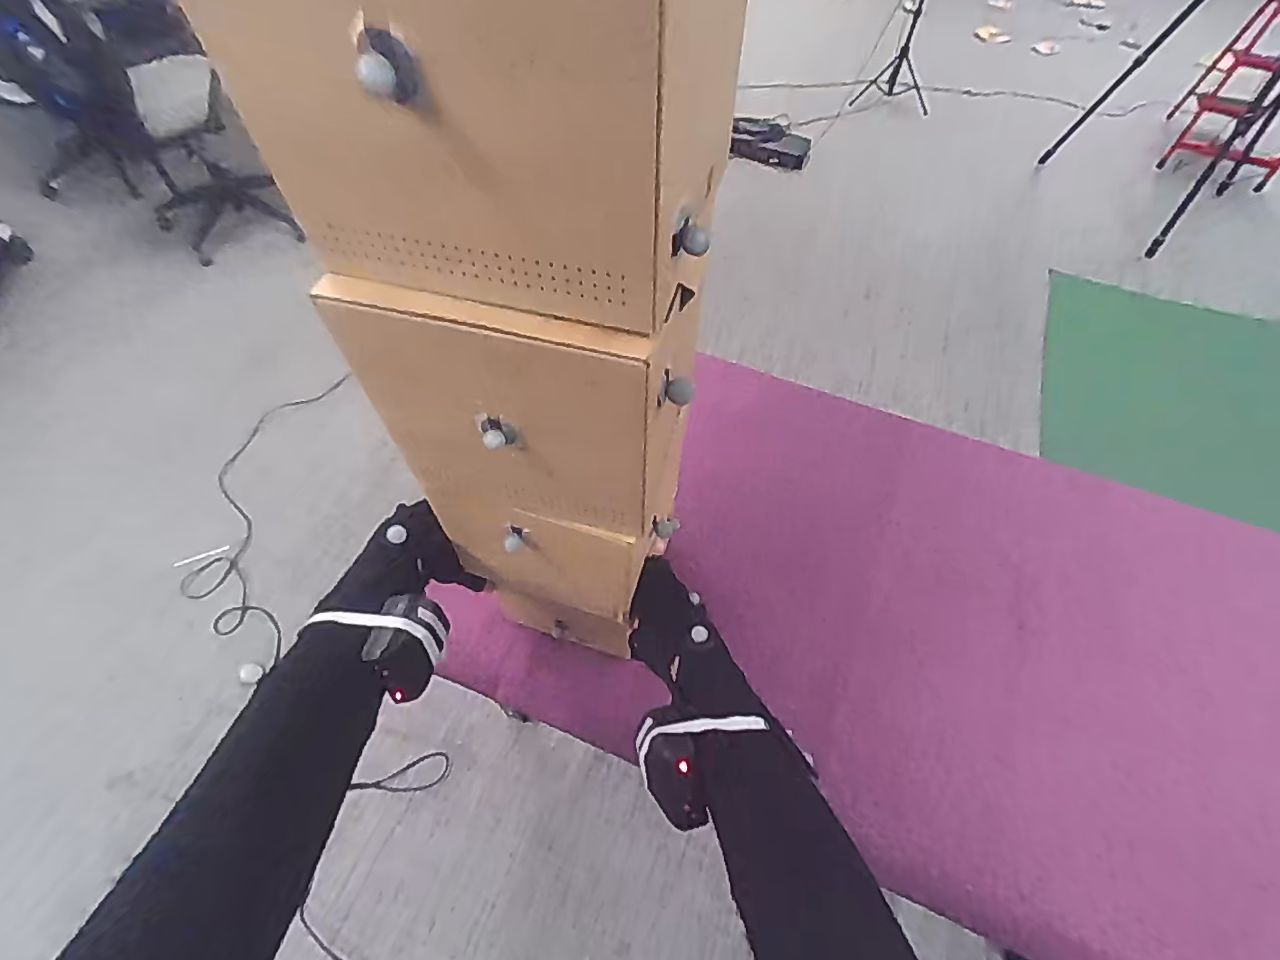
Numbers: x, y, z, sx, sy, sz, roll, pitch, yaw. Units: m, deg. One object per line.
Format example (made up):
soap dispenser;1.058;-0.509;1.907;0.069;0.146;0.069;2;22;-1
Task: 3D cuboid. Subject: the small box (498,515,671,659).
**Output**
small box;-0.065;0.088;0.650;0.168;0.176;0.179;17;57;8

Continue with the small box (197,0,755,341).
small box;-0.046;-0.187;0.242;0.179;0.176;0.168;14;56;10

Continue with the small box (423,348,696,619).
small box;-0.061;0.012;0.506;0.179;0.176;0.168;17;57;9
